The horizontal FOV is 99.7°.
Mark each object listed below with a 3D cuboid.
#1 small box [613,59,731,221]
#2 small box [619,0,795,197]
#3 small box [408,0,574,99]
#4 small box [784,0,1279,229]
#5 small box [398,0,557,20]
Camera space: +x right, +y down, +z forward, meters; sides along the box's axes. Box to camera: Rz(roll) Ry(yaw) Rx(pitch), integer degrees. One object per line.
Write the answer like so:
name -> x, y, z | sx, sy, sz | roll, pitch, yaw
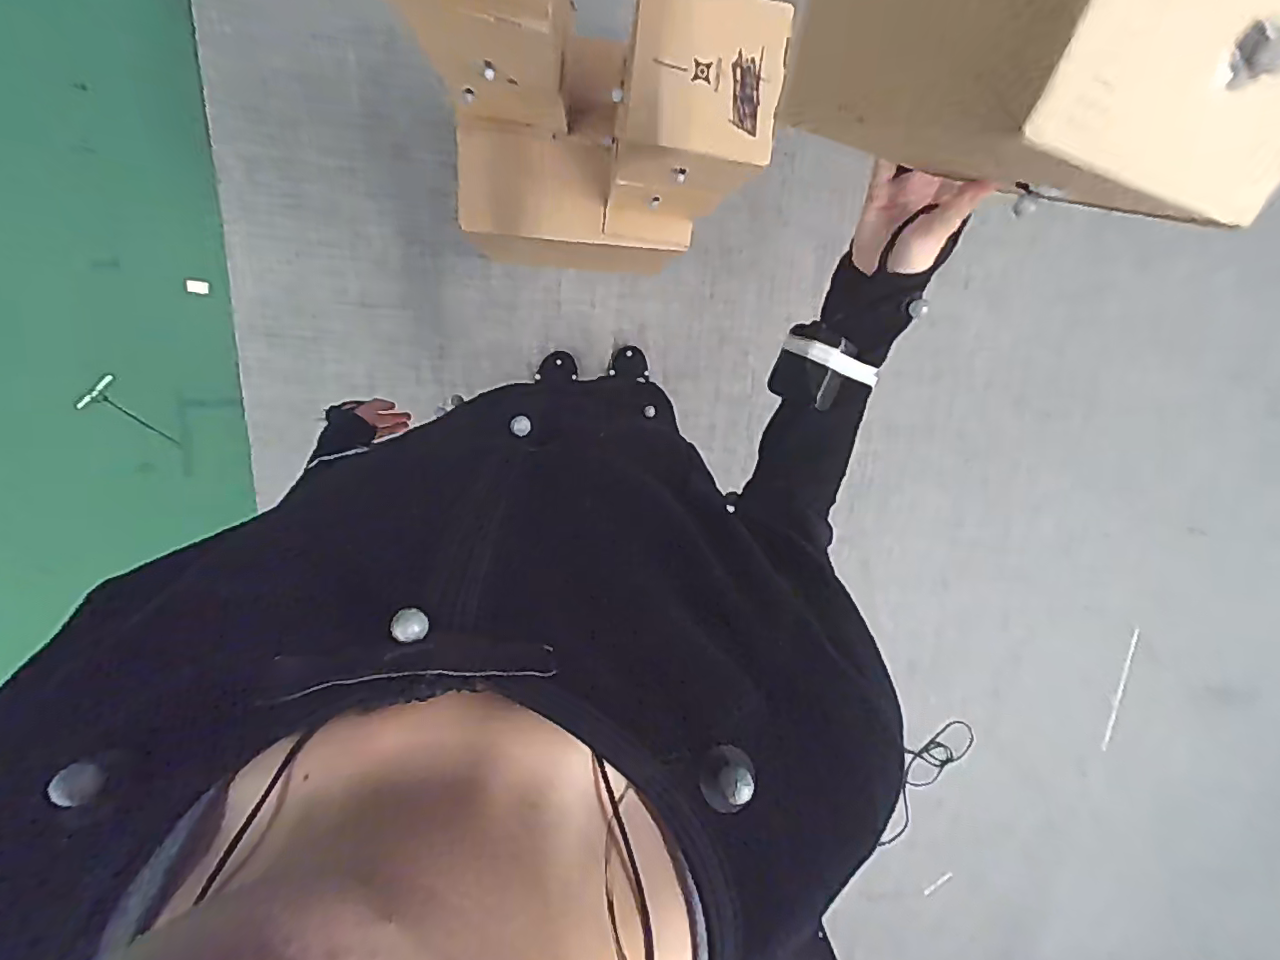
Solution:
small box -> 0.052, -0.518, 0.851 | 0.179, 0.176, 0.168 | 5, 106, -6
small box -> 0.072, -0.478, 0.694 | 0.179, 0.176, 0.168 | 5, 104, -7
small box -> -0.169, -0.600, 0.642 | 0.168, 0.176, 0.179 | 8, 104, -6
small box -> 0.196, -0.228, 0.243 | 0.176, 0.179, 0.168 | 1, 123, -23
small box -> -0.168, -0.558, 0.484 | 0.179, 0.176, 0.168 | 2, 104, -5
